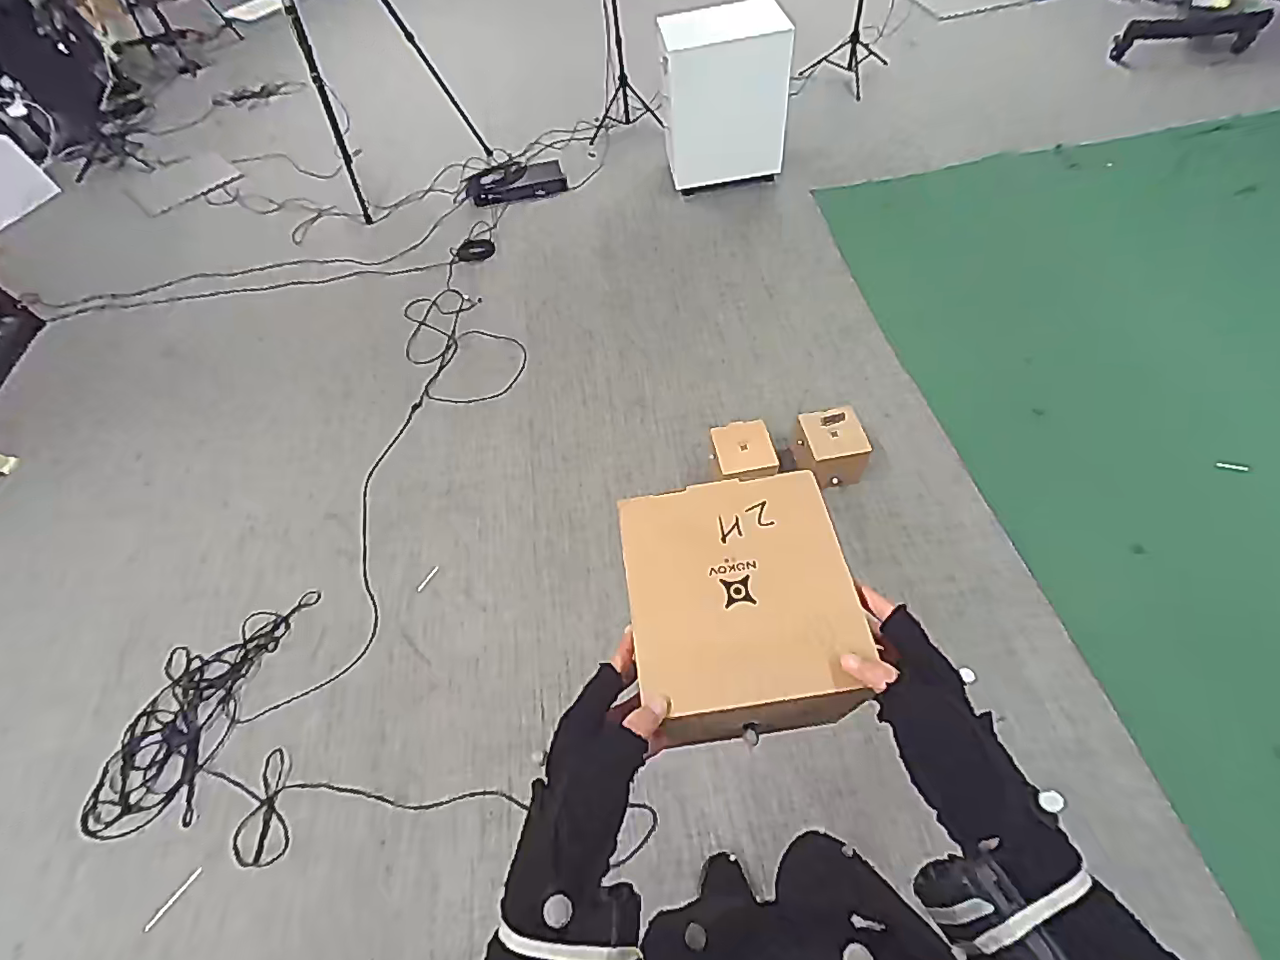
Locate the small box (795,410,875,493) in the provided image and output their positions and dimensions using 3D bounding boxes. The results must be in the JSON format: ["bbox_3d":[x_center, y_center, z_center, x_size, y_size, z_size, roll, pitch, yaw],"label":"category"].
[{"bbox_3d":[0.581,-0.084,1.637,0.168,0.176,0.179,-10,56,1],"label":"small box"}]

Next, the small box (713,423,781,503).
[{"bbox_3d":[0.321,-0.043,1.645,0.168,0.176,0.179,-11,55,0],"label":"small box"}]
